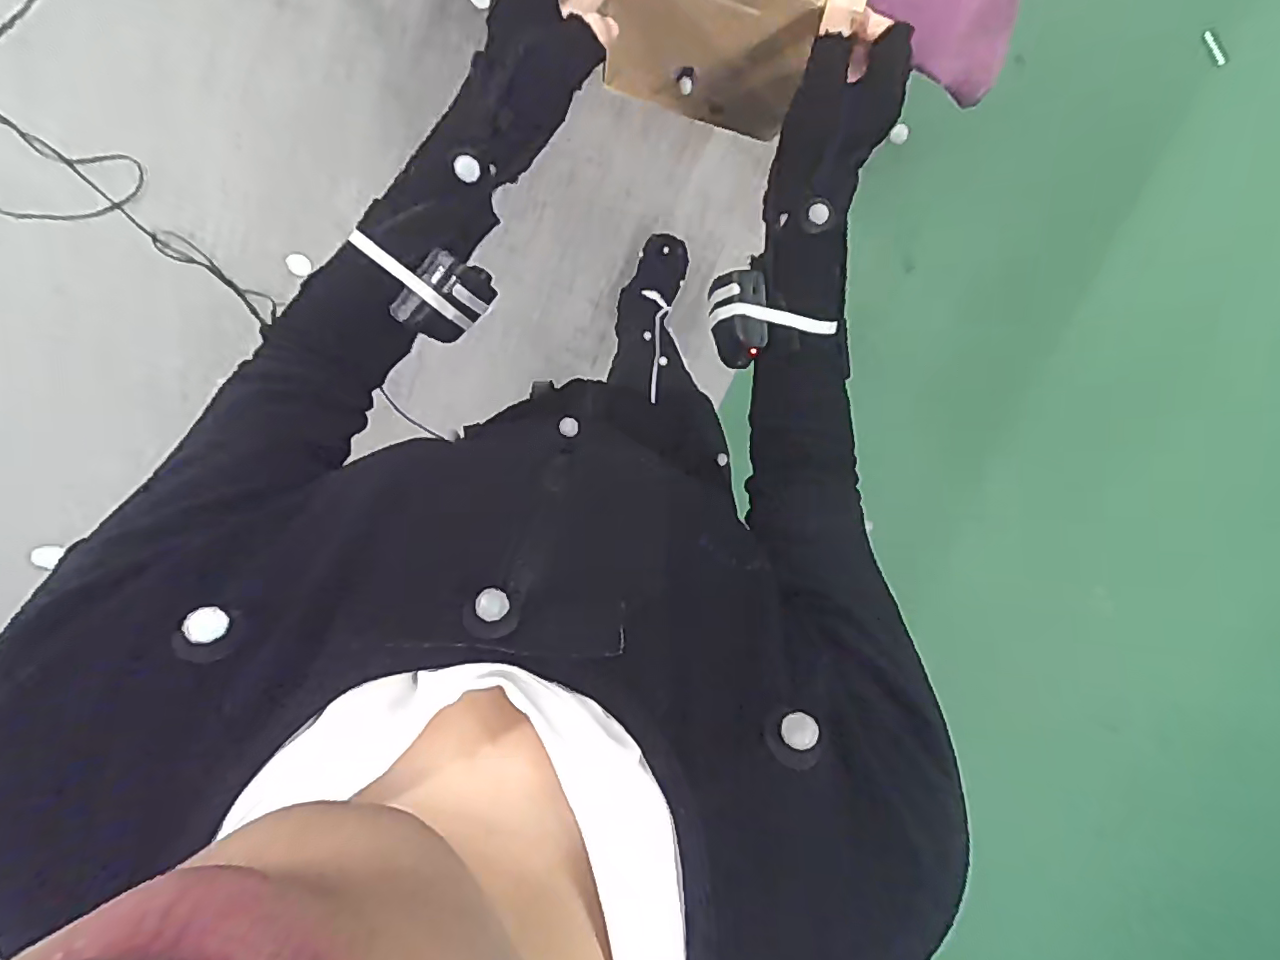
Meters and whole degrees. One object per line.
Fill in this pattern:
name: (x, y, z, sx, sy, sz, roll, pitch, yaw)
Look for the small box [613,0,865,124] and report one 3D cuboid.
small box: (0.078, -0.419, 0.406, 0.168, 0.176, 0.179, 13, 97, -8)
